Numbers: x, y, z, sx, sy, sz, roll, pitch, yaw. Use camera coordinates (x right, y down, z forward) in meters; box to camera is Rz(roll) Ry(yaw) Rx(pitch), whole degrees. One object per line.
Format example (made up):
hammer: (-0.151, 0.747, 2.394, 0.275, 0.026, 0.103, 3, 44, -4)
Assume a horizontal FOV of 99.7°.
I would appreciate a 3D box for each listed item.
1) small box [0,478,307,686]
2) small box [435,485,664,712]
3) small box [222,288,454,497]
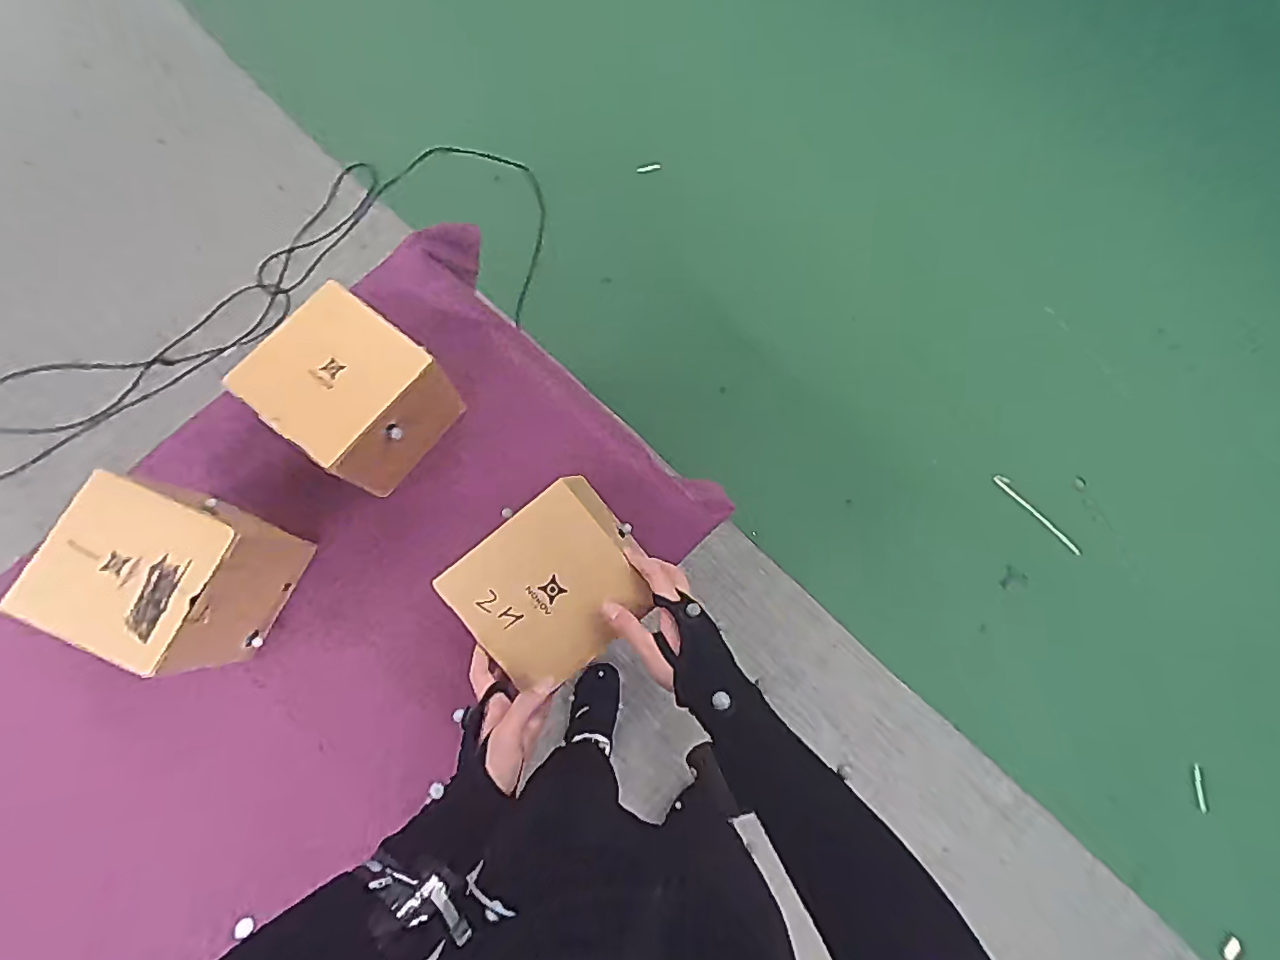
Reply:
small box: (-0.545, 0.118, 0.639, 0.179, 0.176, 0.168, 23, 77, 2)
small box: (-0.092, 0.117, 0.622, 0.179, 0.176, 0.168, -38, 90, 2)
small box: (-0.366, -0.101, 0.701, 0.168, 0.176, 0.179, 37, 79, 4)
